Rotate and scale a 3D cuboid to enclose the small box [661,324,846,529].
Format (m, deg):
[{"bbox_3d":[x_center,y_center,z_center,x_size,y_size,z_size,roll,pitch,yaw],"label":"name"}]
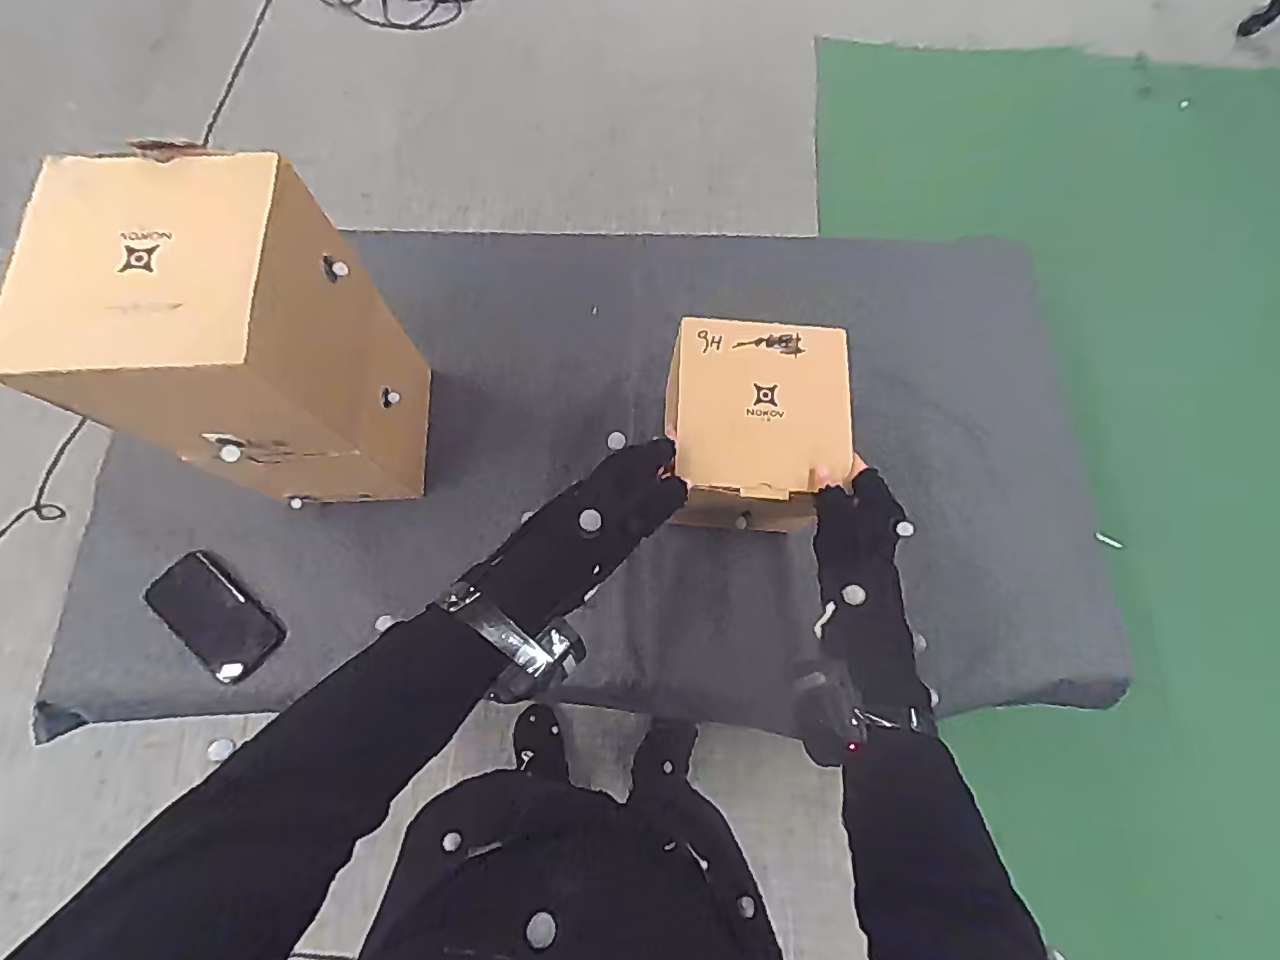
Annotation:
[{"bbox_3d":[0.113,-0.046,0.595,0.168,0.176,0.179,4,75,-1],"label":"small box"}]

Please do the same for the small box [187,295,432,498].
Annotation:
[{"bbox_3d":[-0.343,-0.081,0.602,0.168,0.176,0.179,-2,72,-3],"label":"small box"}]

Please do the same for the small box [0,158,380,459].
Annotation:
[{"bbox_3d":[-0.334,-0.128,0.447,0.168,0.176,0.179,-3,75,-2],"label":"small box"}]
